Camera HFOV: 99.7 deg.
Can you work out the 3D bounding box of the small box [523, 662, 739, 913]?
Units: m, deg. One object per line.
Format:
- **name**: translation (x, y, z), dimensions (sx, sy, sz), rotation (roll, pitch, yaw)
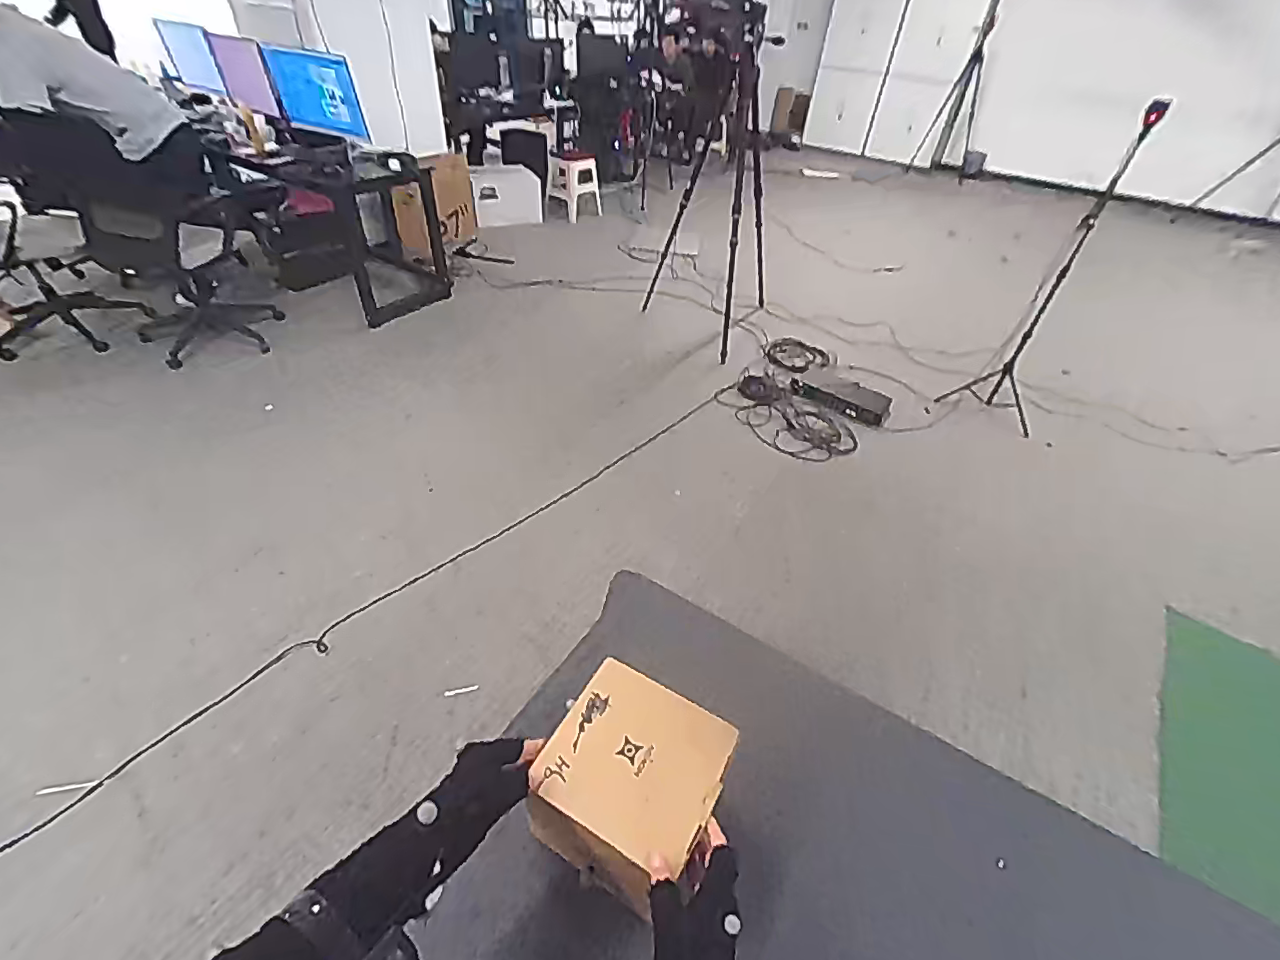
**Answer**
- **small box**: translation (-0.011, 0.352, 0.620), dimensions (0.179, 0.176, 0.168), rotation (24, 45, 19)
